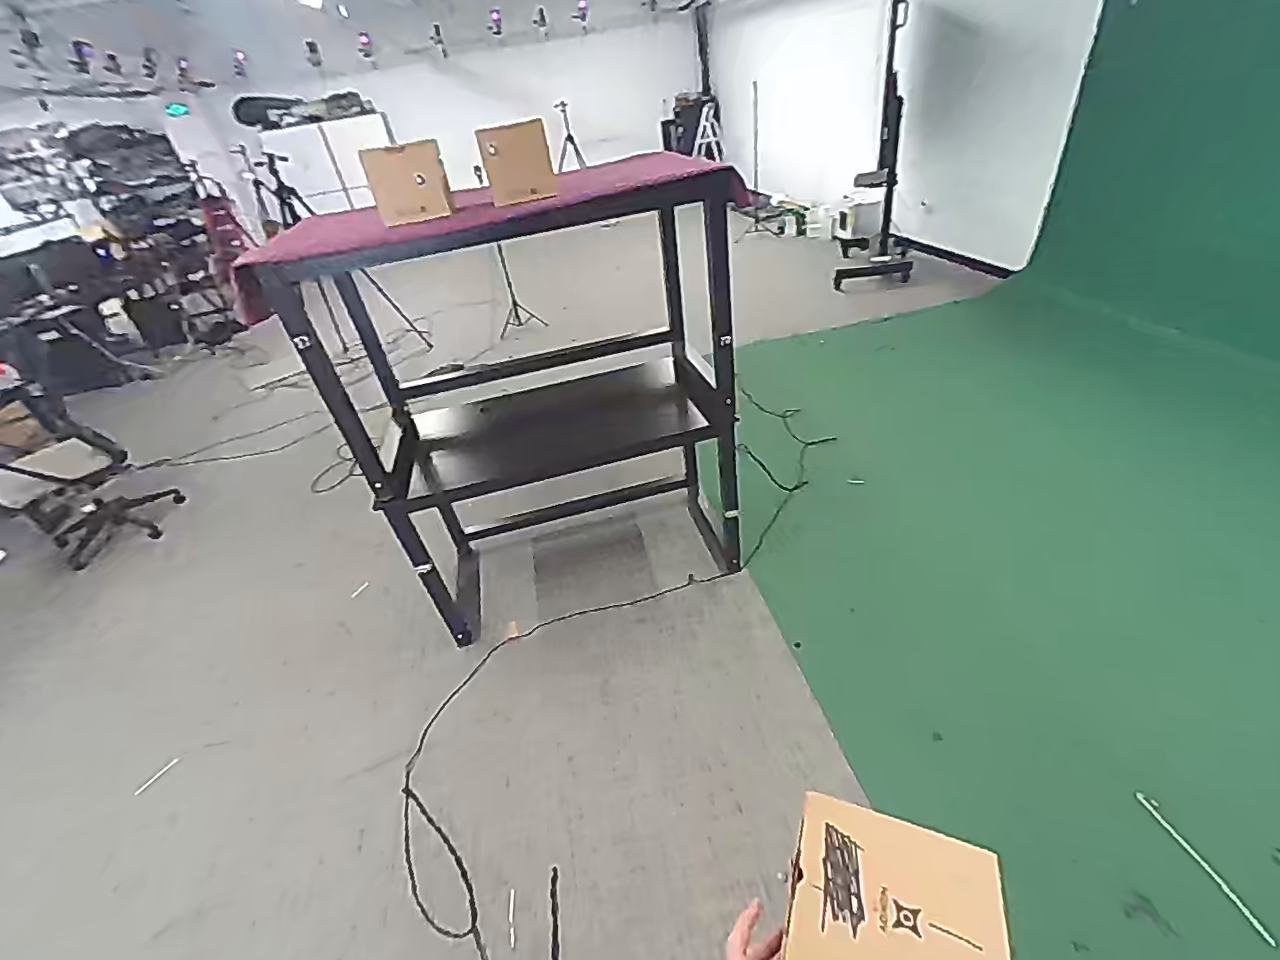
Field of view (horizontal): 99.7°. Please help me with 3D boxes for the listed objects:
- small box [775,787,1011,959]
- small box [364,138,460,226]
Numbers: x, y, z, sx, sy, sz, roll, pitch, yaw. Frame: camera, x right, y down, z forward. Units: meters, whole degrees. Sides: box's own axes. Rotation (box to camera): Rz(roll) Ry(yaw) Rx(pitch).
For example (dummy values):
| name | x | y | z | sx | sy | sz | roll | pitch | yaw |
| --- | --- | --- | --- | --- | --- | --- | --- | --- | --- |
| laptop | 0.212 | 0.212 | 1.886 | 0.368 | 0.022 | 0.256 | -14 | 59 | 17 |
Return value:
| name | x | y | z | sx | sy | sz | roll | pitch | yaw |
| --- | --- | --- | --- | --- | --- | --- | --- | --- | --- |
| small box | 0.224 | 0.438 | 0.509 | 0.179 | 0.176 | 0.168 | 10 | 34 | 19 |
| small box | -0.566 | -0.754 | 1.370 | 0.168 | 0.176 | 0.179 | -12 | 34 | -5 |
